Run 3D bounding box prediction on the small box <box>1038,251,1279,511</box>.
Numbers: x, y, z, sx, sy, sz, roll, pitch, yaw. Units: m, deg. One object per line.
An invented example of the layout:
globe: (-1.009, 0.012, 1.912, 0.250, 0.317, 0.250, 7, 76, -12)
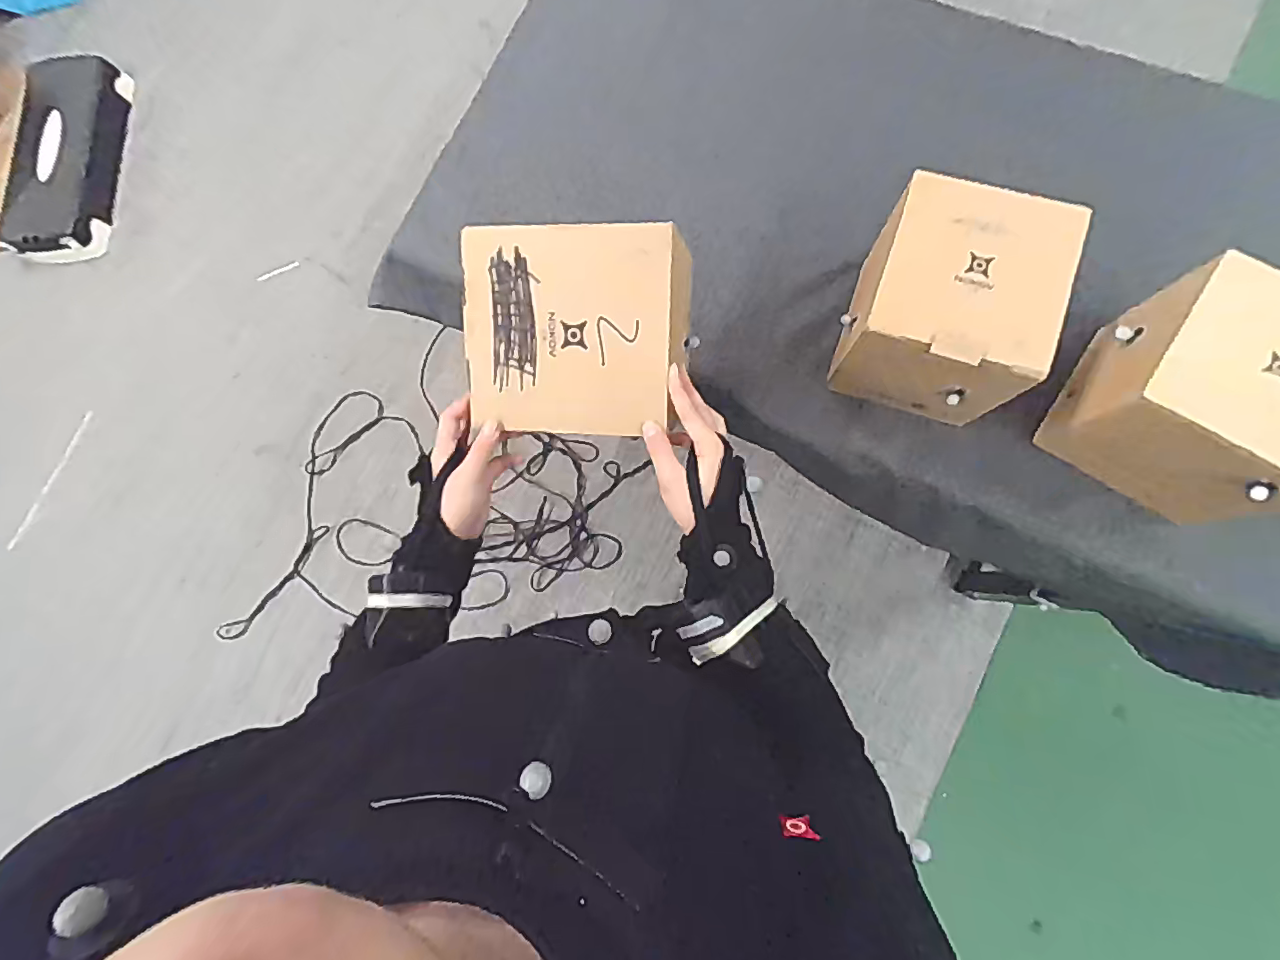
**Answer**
small box: (0.560, -0.082, 0.544, 0.179, 0.176, 0.168, 33, 85, 10)
